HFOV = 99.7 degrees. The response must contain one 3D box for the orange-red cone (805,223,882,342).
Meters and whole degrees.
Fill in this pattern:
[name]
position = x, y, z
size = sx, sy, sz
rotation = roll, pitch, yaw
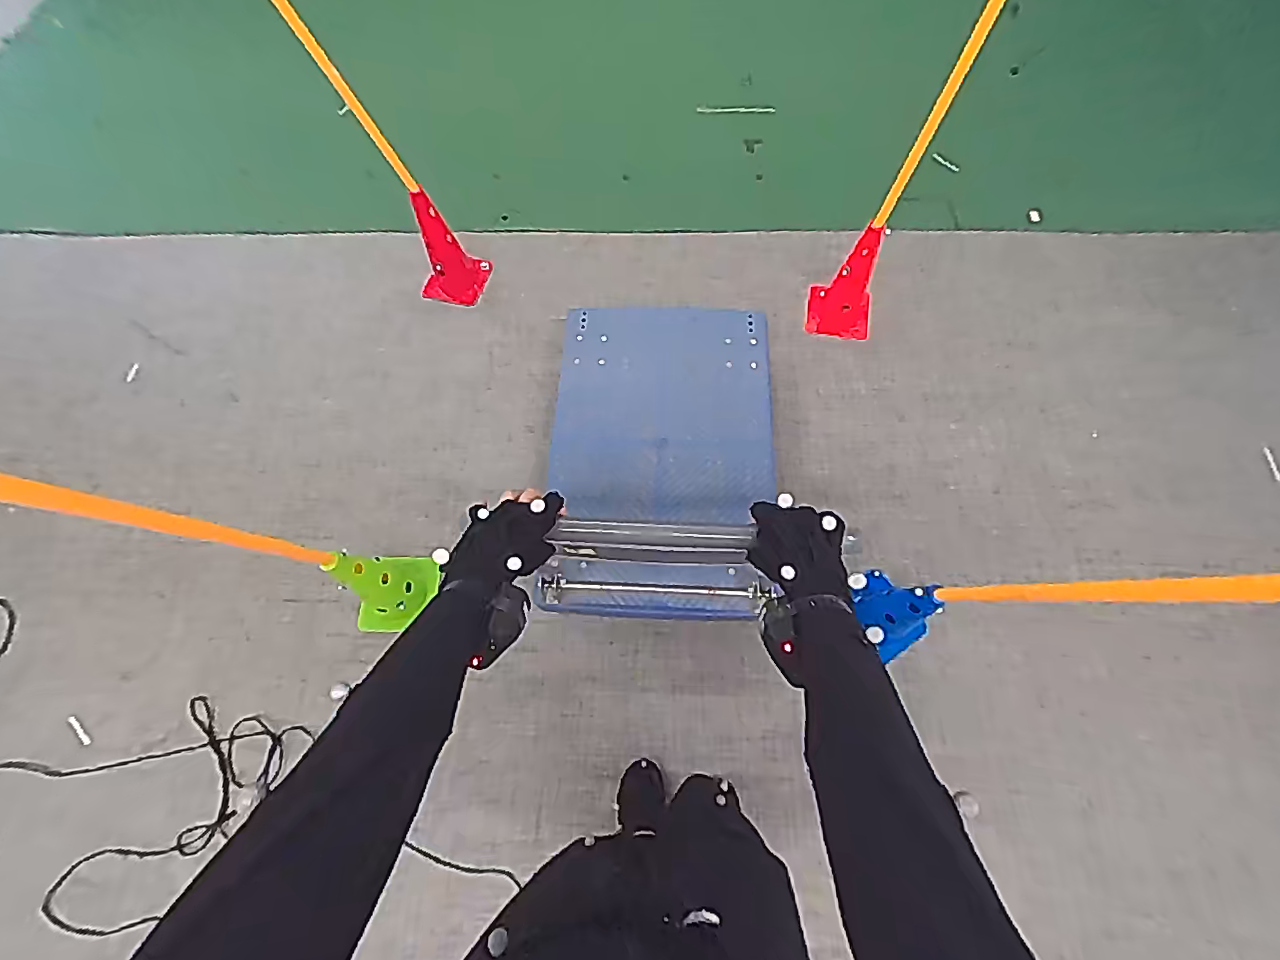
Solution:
[orange-red cone]
position = 0.639, -0.607, 1.609
size = 0.198, 0.360, 0.199
rotation = 11, 69, 7
